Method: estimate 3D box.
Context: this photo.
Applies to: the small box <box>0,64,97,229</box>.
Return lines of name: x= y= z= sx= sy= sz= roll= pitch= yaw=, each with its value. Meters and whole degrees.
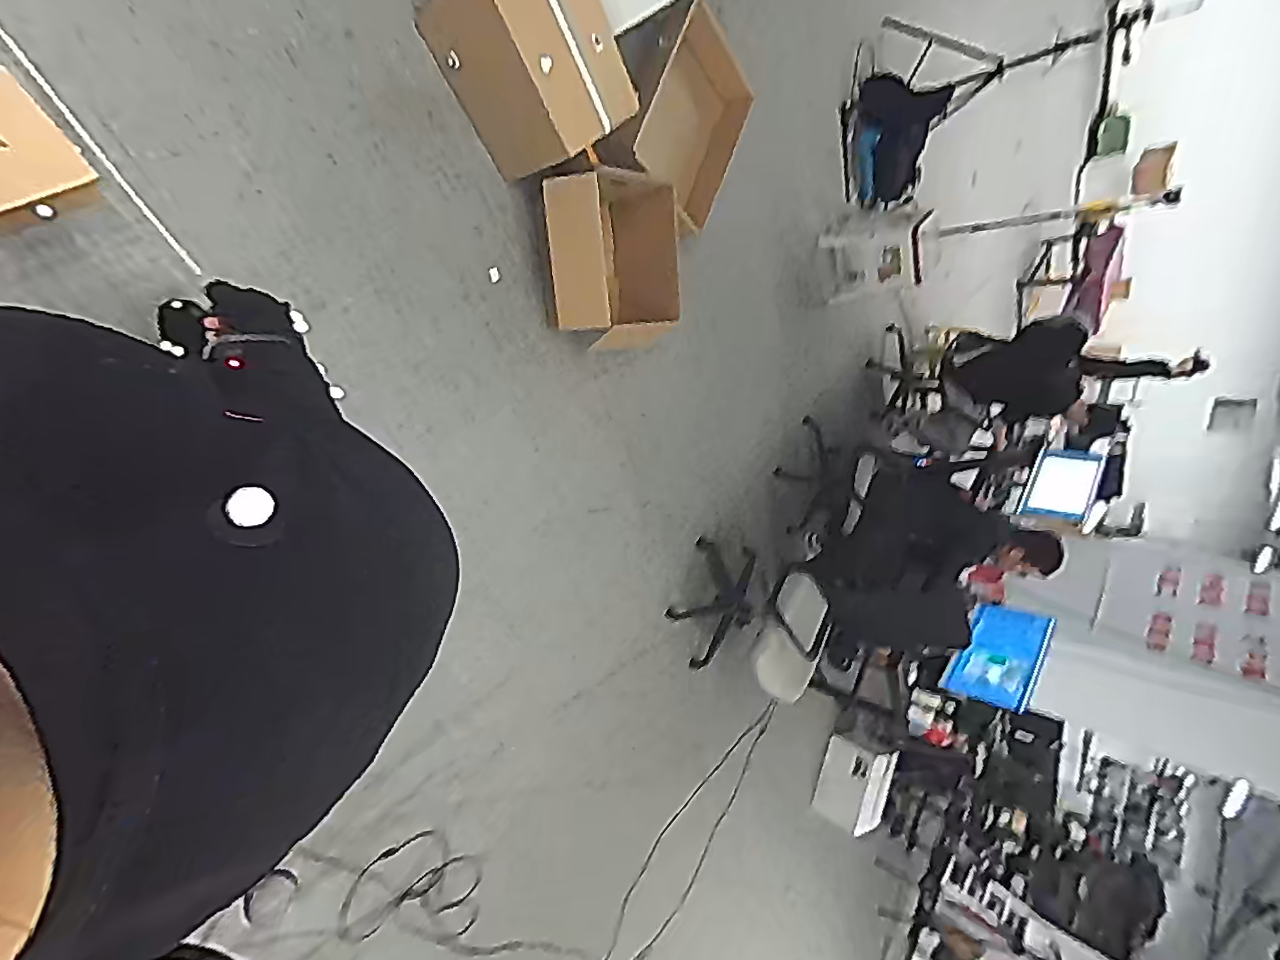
small box: x=-1.039 y=-0.526 z=0.868 sx=0.179 sy=0.176 sz=0.168 roll=-46 pitch=127 yaw=-28
